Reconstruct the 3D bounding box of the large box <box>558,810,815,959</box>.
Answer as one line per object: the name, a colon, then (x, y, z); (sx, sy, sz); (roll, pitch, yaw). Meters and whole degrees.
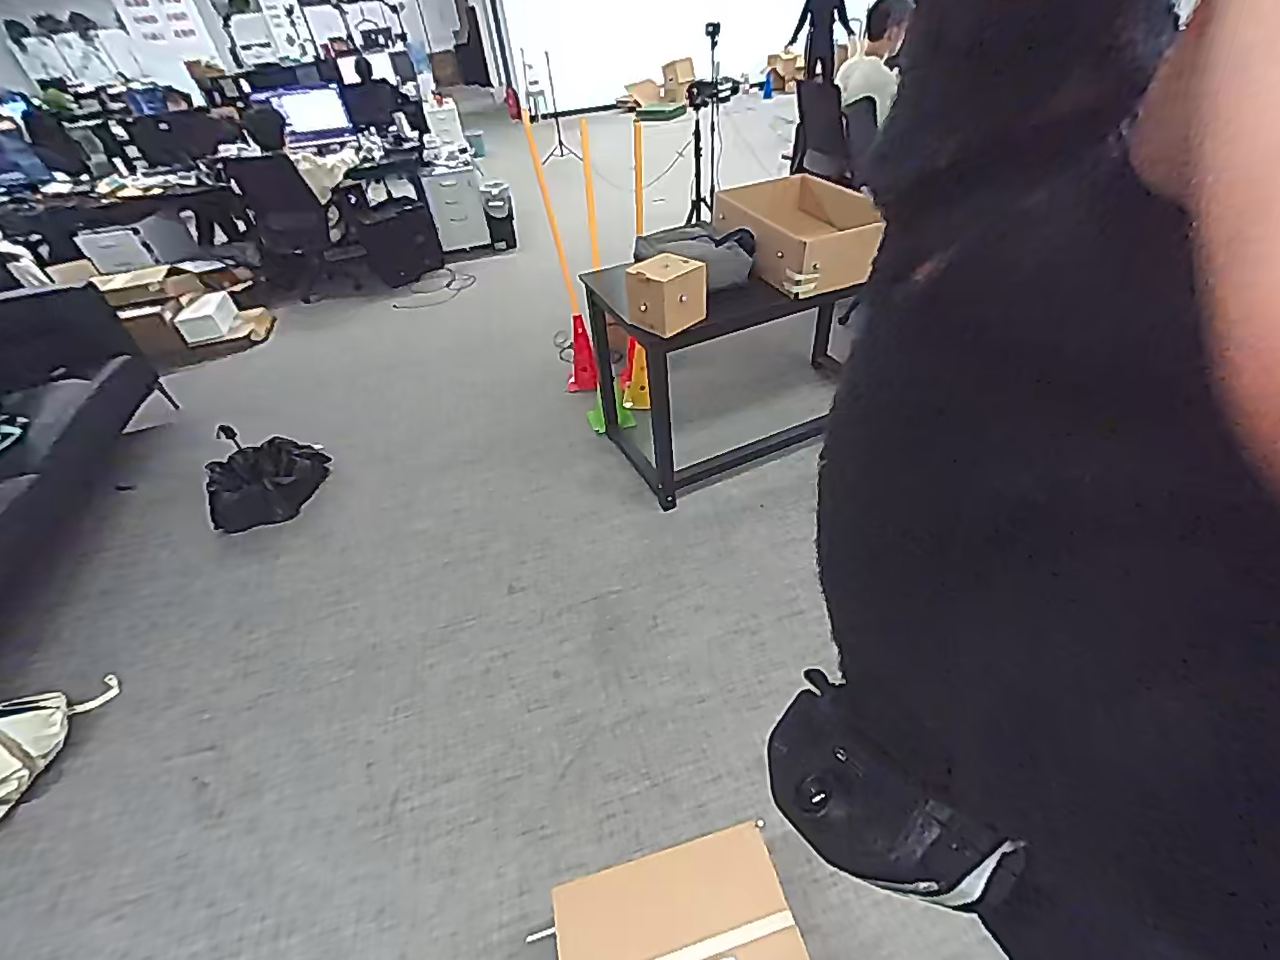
large box: (0.090, 0.897, 1.014); (0.408, 0.320, 0.320); (-14, 43, -7)
